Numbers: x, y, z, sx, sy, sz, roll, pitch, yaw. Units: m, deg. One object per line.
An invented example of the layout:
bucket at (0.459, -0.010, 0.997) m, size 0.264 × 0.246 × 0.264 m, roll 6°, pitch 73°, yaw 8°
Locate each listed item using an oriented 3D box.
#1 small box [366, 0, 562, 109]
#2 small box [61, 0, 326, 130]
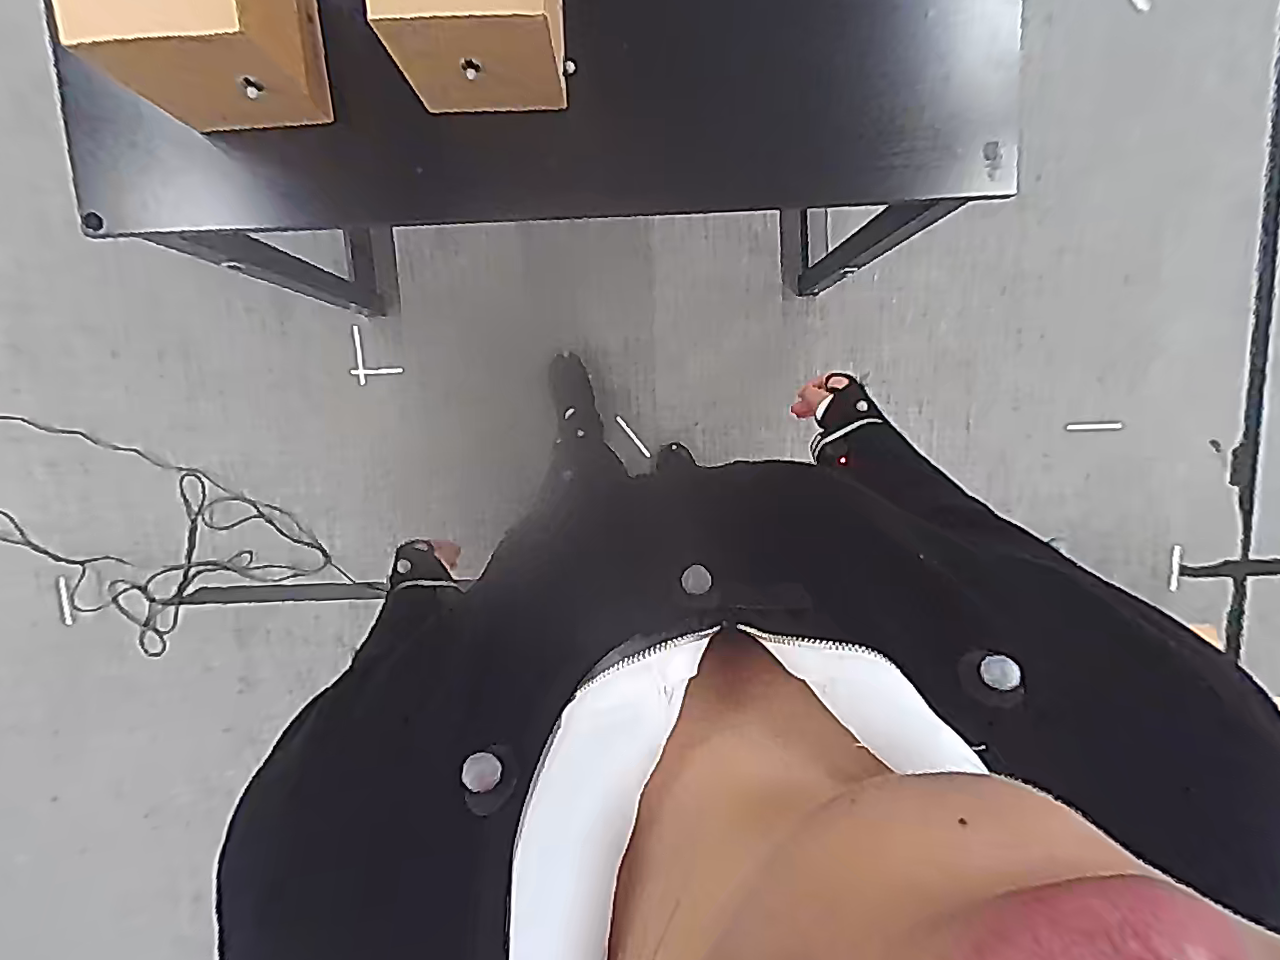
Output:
small box at (-0.182, -0.541, 0.595) m, size 0.179 × 0.176 × 0.168 m, roll -2°, pitch 97°, yaw 0°
small box at (-0.475, -0.517, 0.593) m, size 0.179 × 0.176 × 0.168 m, roll -6°, pitch 97°, yaw 0°
